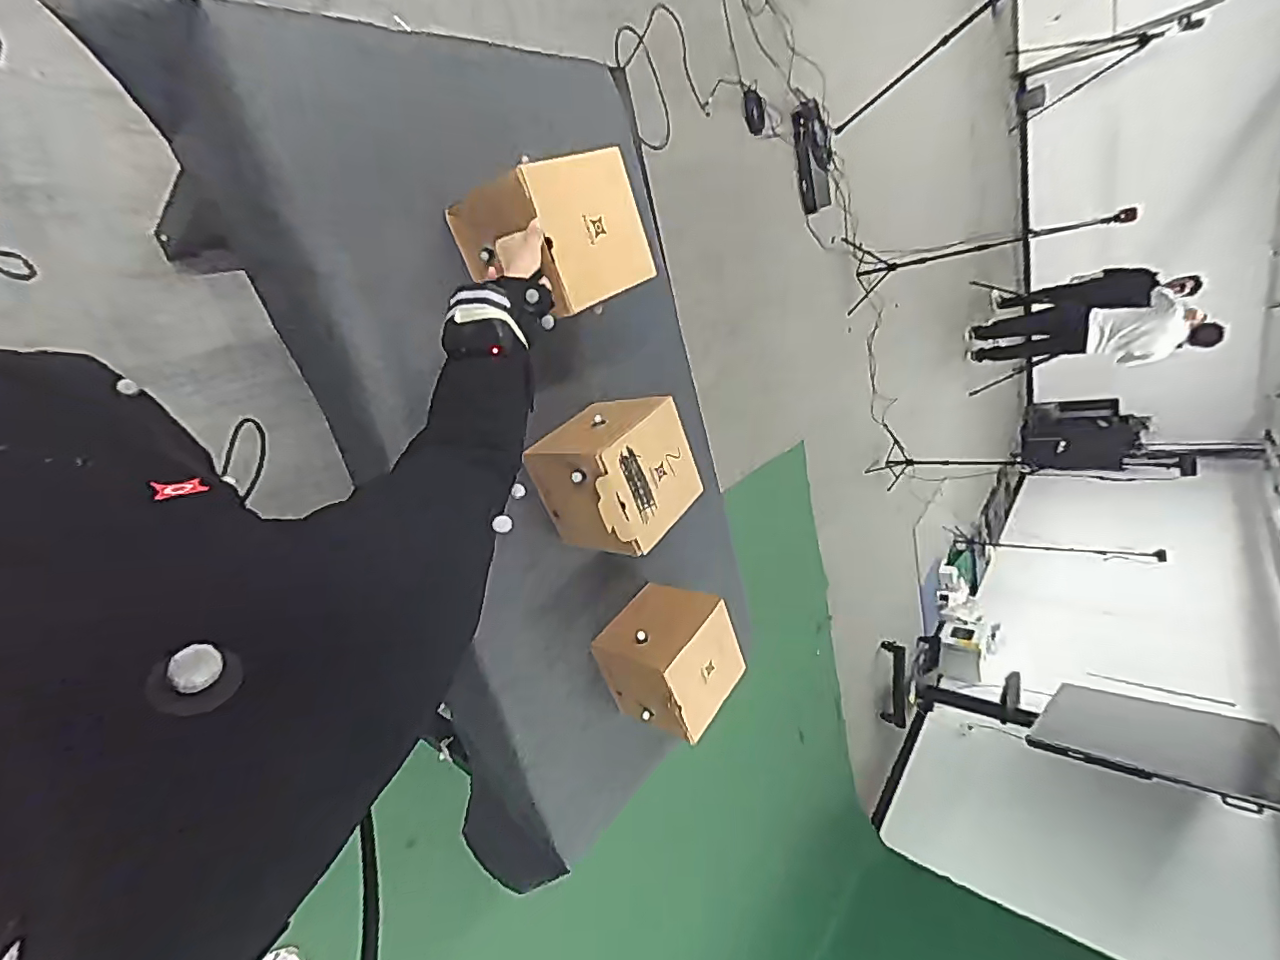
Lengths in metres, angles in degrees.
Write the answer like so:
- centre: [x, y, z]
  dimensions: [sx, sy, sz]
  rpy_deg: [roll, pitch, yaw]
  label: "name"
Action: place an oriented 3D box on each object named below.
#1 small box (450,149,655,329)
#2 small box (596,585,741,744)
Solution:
- centre: [-0.113, -0.314, 0.718]
  dimensions: [0.179, 0.176, 0.168]
  rpy_deg: [-40, 121, -38]
  label: "small box"
- centre: [0.045, 0.305, 0.931]
  dimensions: [0.179, 0.176, 0.168]
  rpy_deg: [-41, 122, -40]
  label: "small box"
